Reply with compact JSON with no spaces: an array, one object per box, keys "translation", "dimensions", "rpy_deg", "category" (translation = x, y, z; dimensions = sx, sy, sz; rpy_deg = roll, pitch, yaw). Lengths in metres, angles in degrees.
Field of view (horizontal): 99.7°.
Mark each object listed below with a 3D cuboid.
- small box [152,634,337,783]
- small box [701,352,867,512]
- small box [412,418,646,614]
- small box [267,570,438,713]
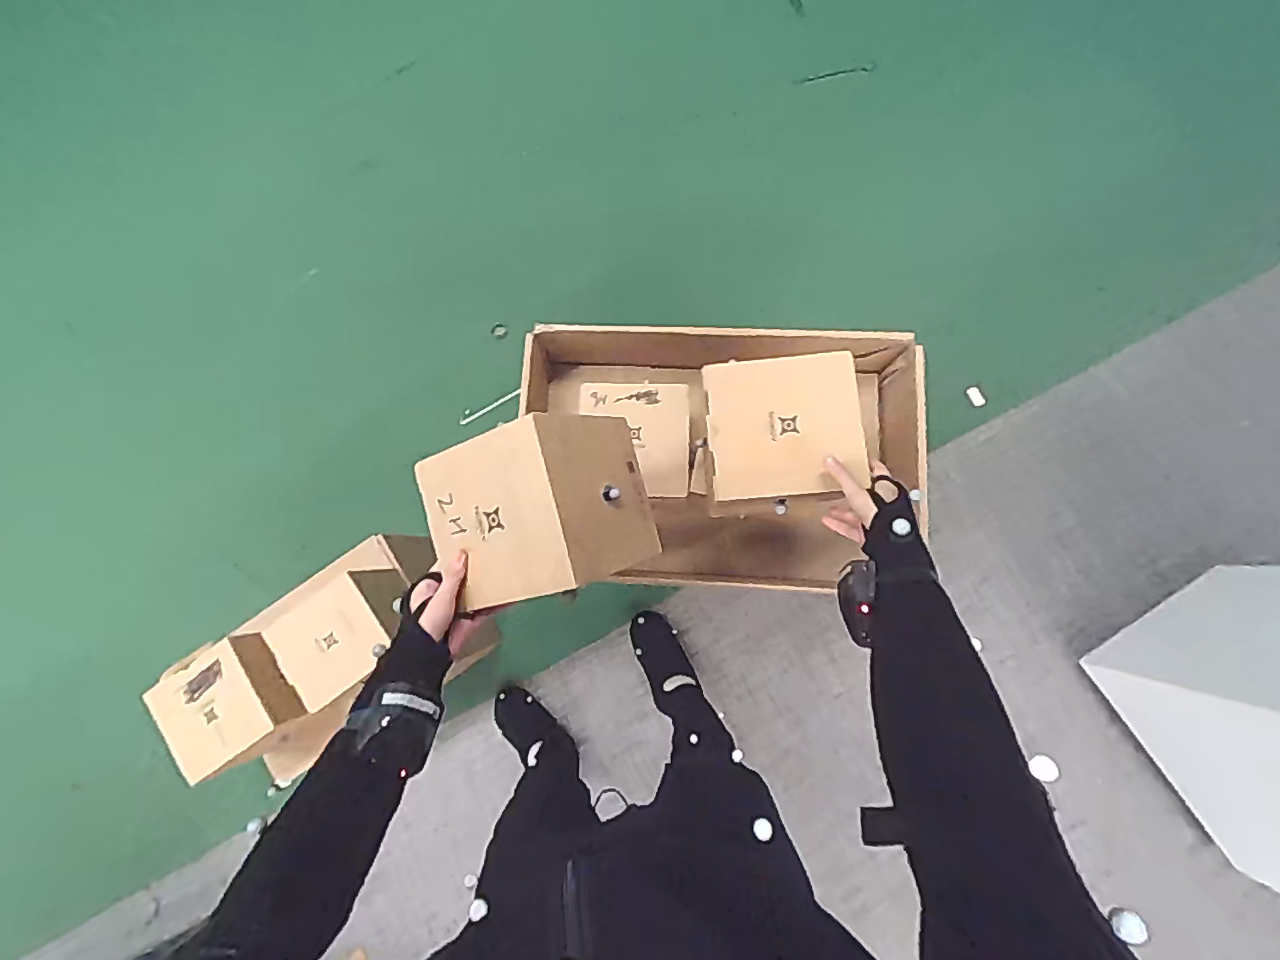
[{"translation":[-0.691,0.389,0.963],"dimensions":[0.168,0.176,0.179],"rpy_deg":[-35,81,-2],"category":"small box"},{"translation":[0.173,-0.052,0.704],"dimensions":[0.179,0.176,0.168],"rpy_deg":[-5,80,6],"category":"small box"},{"translation":[-0.111,0.034,0.598],"dimensions":[0.179,0.176,0.168],"rpy_deg":[-18,85,30],"category":"small box"},{"translation":[-0.502,0.278,0.969],"dimensions":[0.179,0.176,0.168],"rpy_deg":[-36,82,-3],"category":"small box"}]
